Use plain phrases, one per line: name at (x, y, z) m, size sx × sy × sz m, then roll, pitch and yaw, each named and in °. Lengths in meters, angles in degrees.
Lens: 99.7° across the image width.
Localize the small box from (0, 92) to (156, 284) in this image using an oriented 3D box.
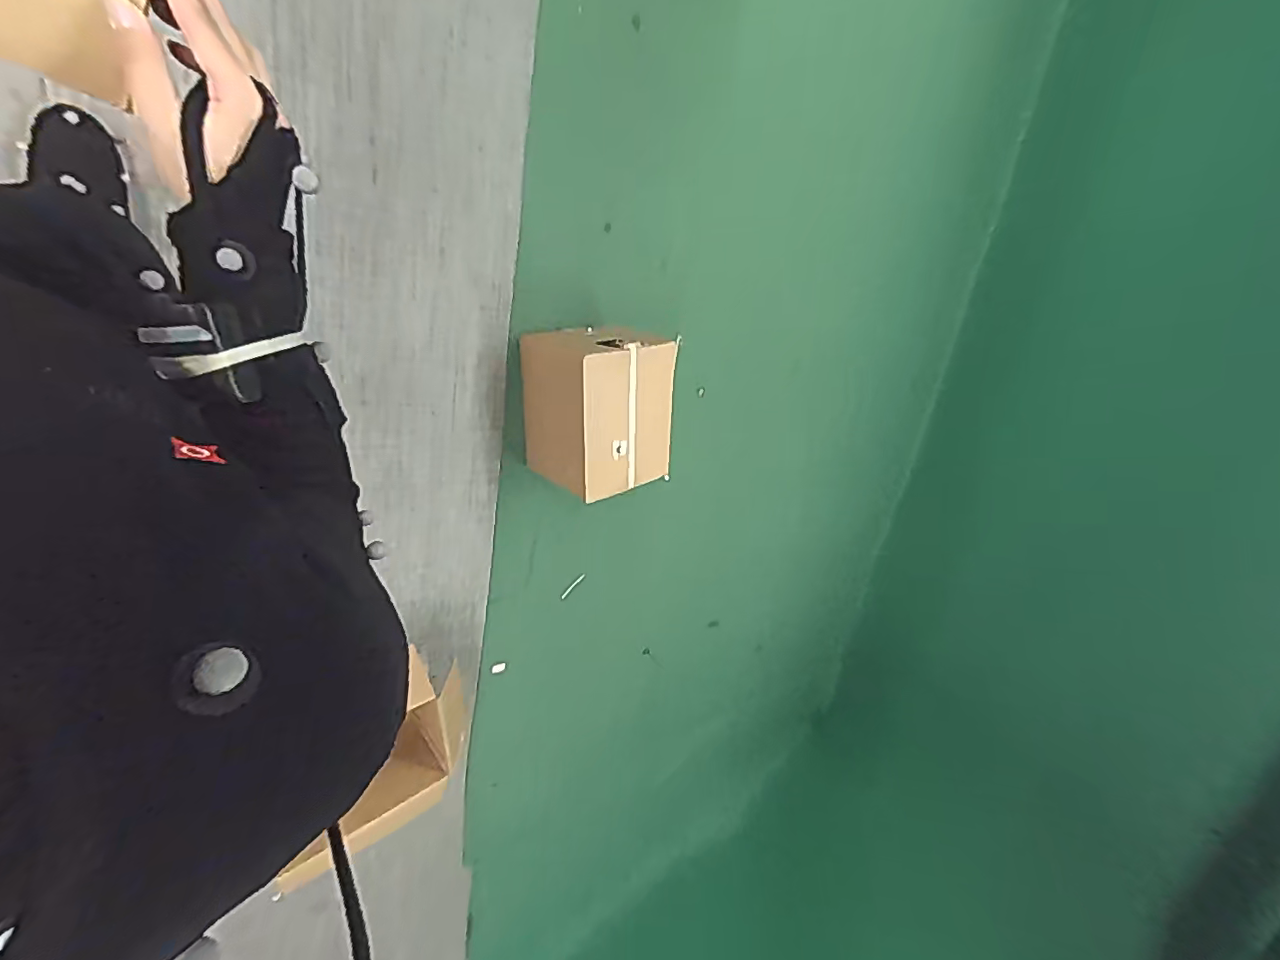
small box at (-0.874, -0.412, 0.786) m, size 0.176 × 0.168 × 0.179 m, roll -24°, pitch 147°, yaw -1°
